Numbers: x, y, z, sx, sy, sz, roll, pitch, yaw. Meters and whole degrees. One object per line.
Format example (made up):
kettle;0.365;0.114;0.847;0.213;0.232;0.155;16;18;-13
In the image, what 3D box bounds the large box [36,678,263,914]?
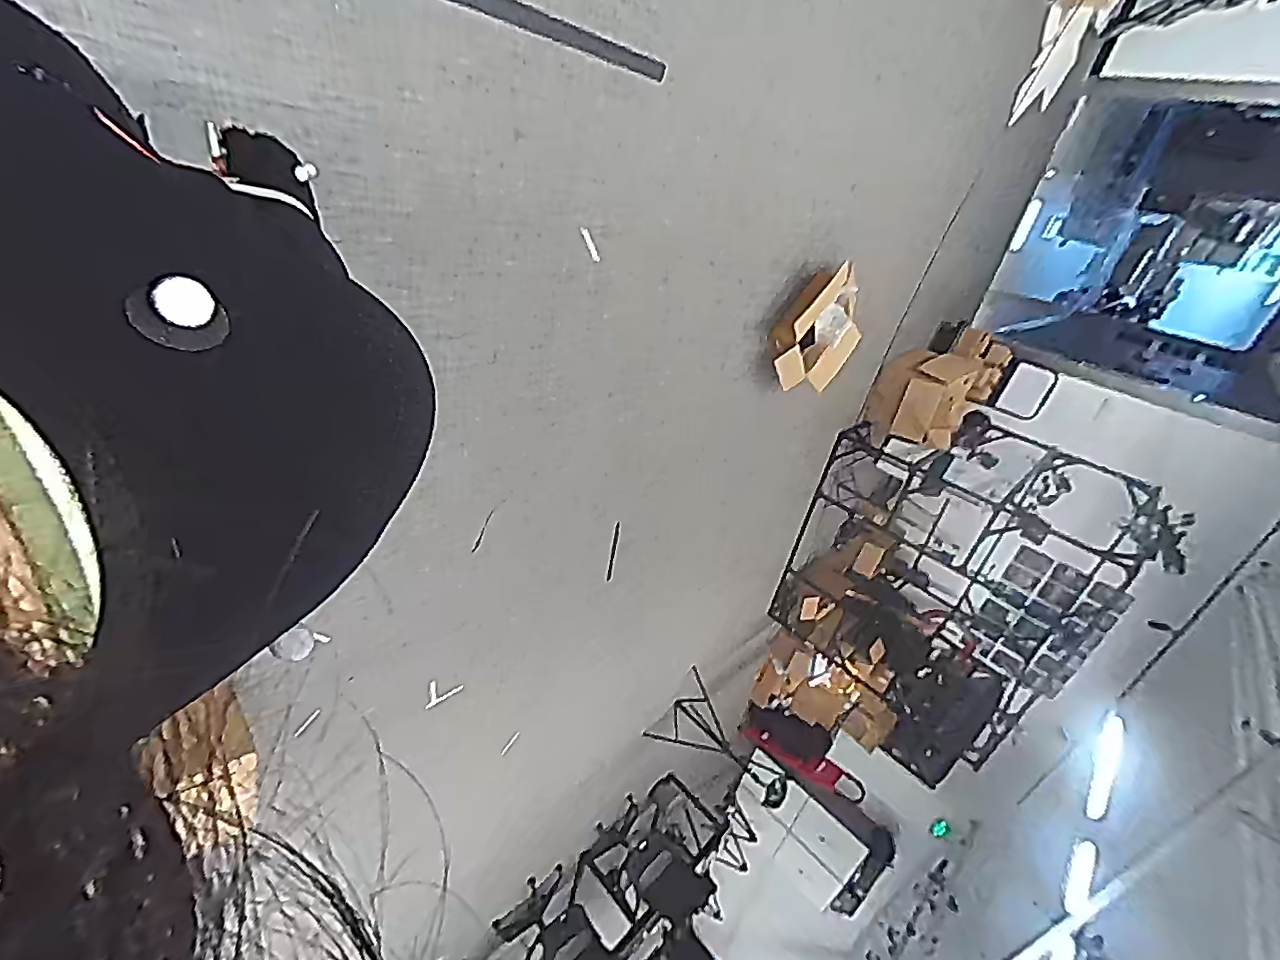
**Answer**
large box;-1.310;0.822;1.472;0.408;0.320;0.320;-12;125;-48
